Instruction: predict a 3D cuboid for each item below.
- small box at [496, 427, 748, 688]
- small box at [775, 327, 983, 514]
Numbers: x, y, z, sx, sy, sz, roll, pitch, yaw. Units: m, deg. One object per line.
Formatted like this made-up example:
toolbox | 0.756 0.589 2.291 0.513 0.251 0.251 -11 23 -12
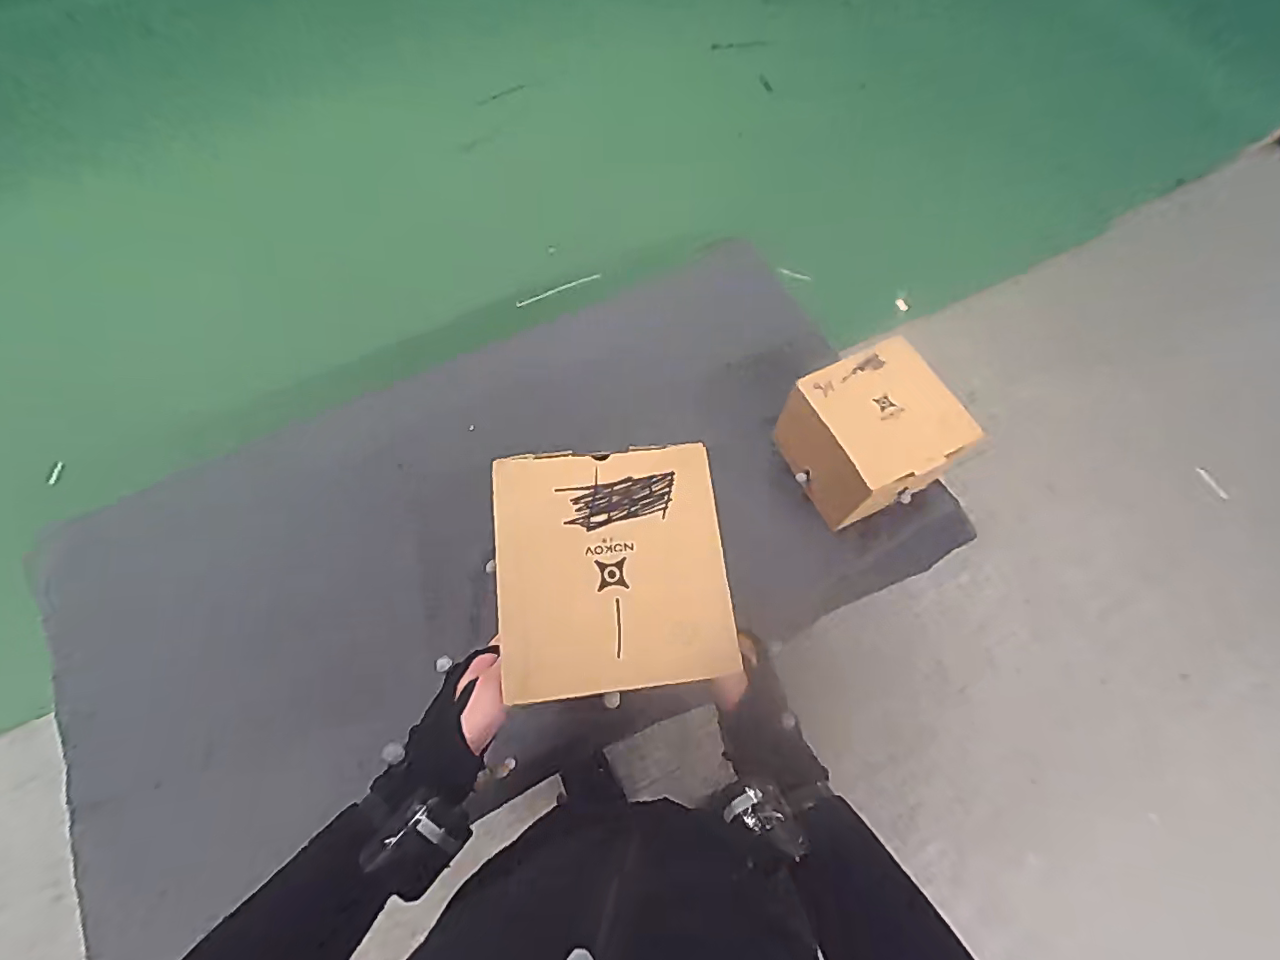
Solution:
small box | -0.025 0.072 0.451 0.168 0.176 0.179 -5 72 -7
small box | 0.311 -0.069 0.744 0.168 0.176 0.179 -24 70 -7
